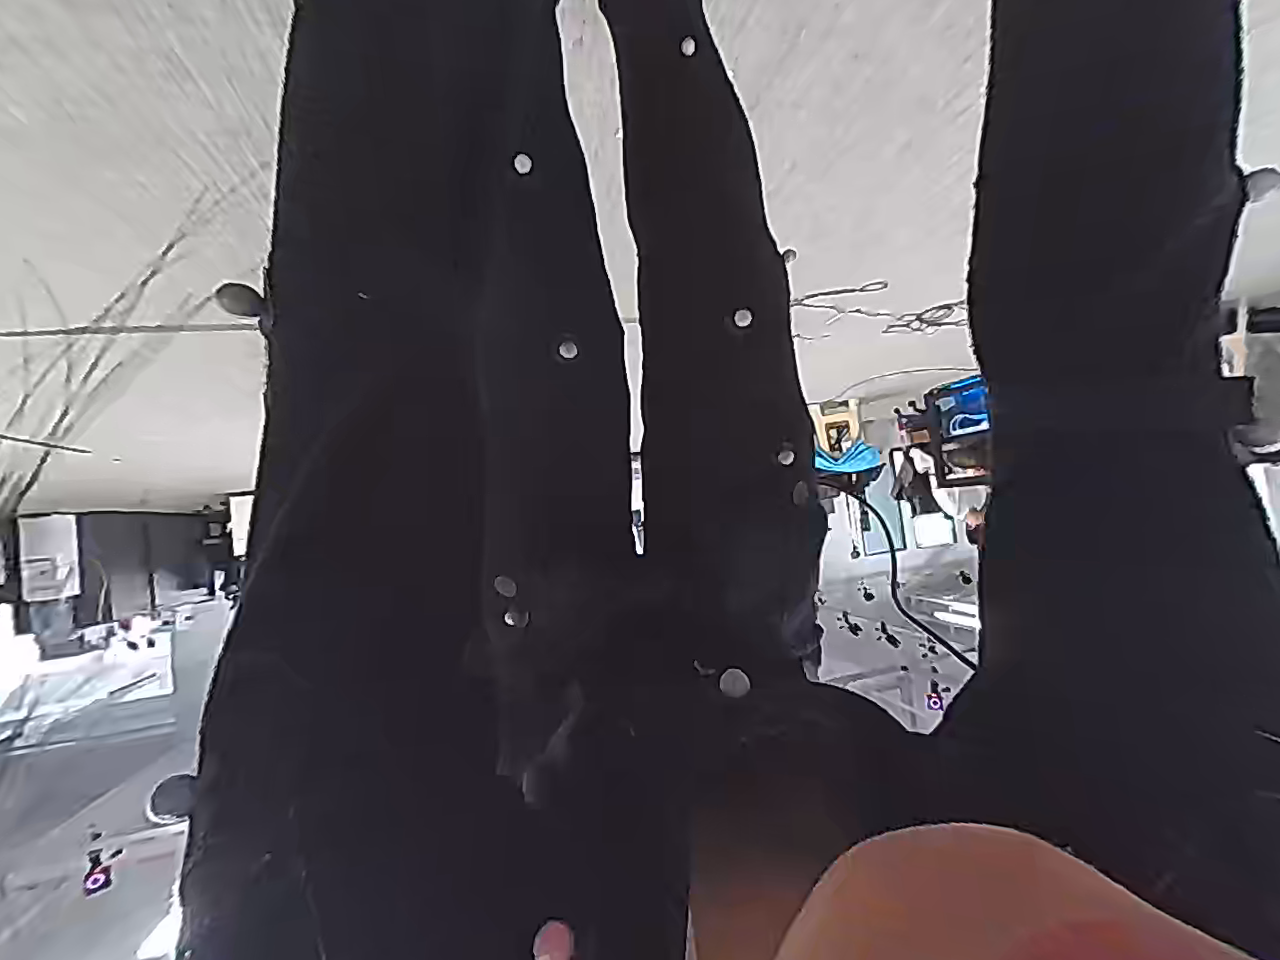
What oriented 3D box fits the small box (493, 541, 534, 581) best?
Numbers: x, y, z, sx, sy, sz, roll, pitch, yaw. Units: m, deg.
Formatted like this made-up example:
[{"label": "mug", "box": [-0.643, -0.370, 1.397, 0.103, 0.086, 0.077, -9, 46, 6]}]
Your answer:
[{"label": "small box", "box": [-0.625, 0.393, 2.651, 0.168, 0.176, 0.179, -7, 175, -21]}]
